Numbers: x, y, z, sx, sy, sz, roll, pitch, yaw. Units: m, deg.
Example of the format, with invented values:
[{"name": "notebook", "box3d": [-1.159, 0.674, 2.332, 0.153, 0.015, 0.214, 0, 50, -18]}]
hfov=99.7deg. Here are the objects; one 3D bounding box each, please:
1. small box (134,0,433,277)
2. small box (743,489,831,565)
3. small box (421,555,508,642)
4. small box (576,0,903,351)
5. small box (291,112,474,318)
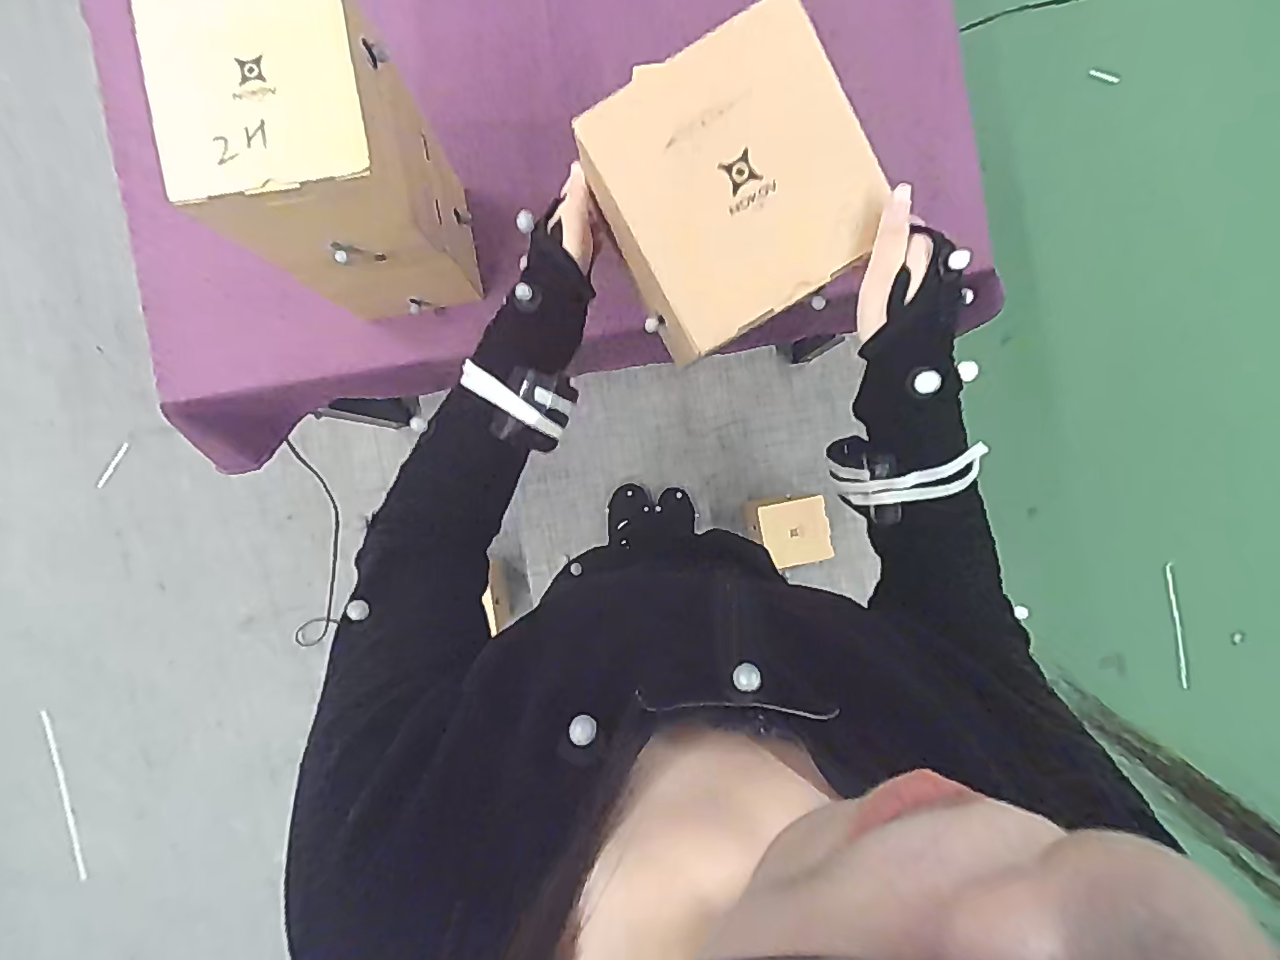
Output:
[{"name": "small box", "box3d": [-0.316, -0.319, 0.515, 0.168, 0.176, 0.179, -9, 91, -2]}, {"name": "small box", "box3d": [0.385, 0.122, 1.450, 0.179, 0.176, 0.168, -12, 92, -2]}, {"name": "small box", "box3d": [-0.453, 0.304, 1.420, 0.168, 0.176, 0.179, -9, 90, -2]}, {"name": "small box", "box3d": [0.068, -0.218, 0.440, 0.168, 0.176, 0.179, -30, 98, 3]}, {"name": "small box", "box3d": [-0.320, -0.318, 0.681, 0.179, 0.176, 0.168, -11, 91, -3]}]
